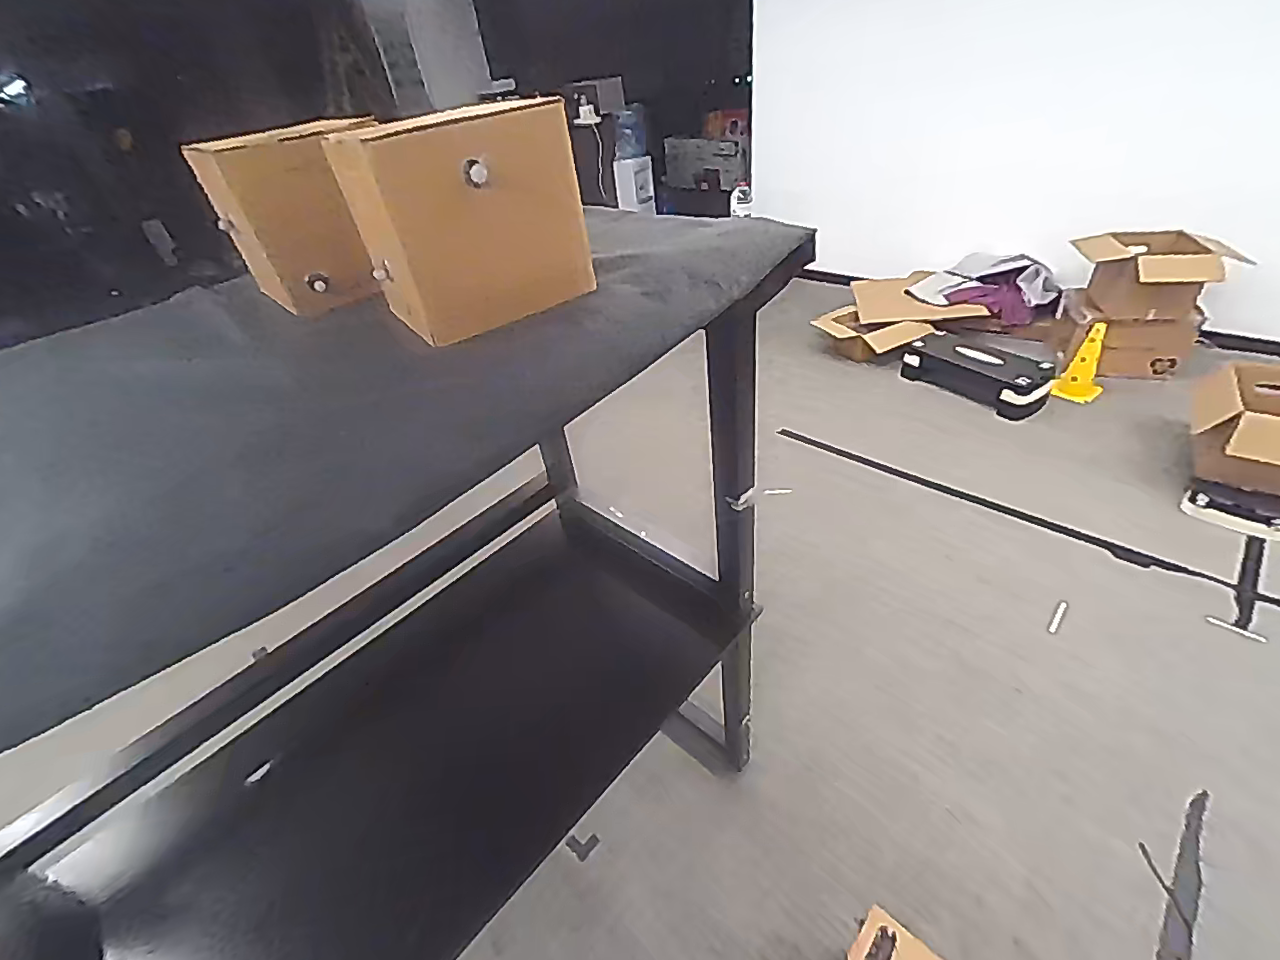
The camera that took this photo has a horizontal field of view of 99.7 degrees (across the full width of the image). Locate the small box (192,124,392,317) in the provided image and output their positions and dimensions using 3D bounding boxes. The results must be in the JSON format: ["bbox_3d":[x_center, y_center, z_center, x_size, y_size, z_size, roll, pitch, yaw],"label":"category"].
[{"bbox_3d":[-0.386,-0.312,0.652,0.168,0.176,0.179,-35,44,-28],"label":"small box"}]

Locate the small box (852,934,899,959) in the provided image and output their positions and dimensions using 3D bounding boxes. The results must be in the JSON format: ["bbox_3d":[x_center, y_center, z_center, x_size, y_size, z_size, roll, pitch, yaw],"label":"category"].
[{"bbox_3d":[0.487,1.082,1.088,0.168,0.176,0.179,25,50,35],"label":"small box"}]

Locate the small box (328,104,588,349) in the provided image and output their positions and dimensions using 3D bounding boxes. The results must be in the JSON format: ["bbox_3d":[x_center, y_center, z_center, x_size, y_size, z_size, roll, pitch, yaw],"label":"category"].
[{"bbox_3d":[-0.166,-0.252,0.531,0.179,0.176,0.168,-30,41,-22],"label":"small box"}]
